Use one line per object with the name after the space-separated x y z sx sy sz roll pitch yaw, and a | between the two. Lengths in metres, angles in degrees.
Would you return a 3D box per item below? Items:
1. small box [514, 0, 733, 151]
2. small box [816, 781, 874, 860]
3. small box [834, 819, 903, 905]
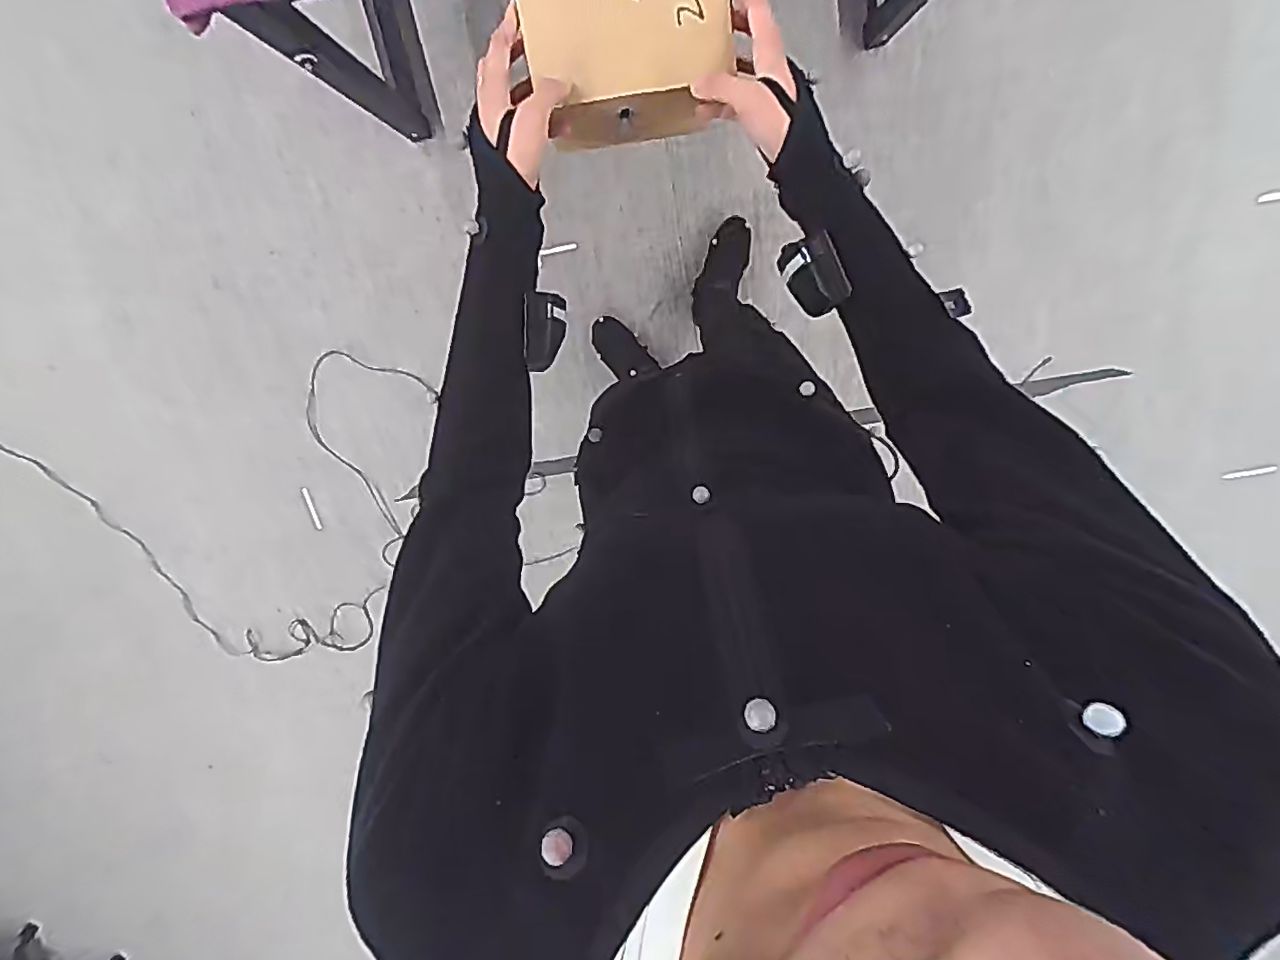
-0.020 -0.427 0.507 0.179 0.176 0.168 -8 111 -1 | small box
0.789 1.293 2.059 0.168 0.176 0.179 -16 109 4 | small box
0.800 1.341 1.902 0.168 0.176 0.179 -15 108 3 | small box
